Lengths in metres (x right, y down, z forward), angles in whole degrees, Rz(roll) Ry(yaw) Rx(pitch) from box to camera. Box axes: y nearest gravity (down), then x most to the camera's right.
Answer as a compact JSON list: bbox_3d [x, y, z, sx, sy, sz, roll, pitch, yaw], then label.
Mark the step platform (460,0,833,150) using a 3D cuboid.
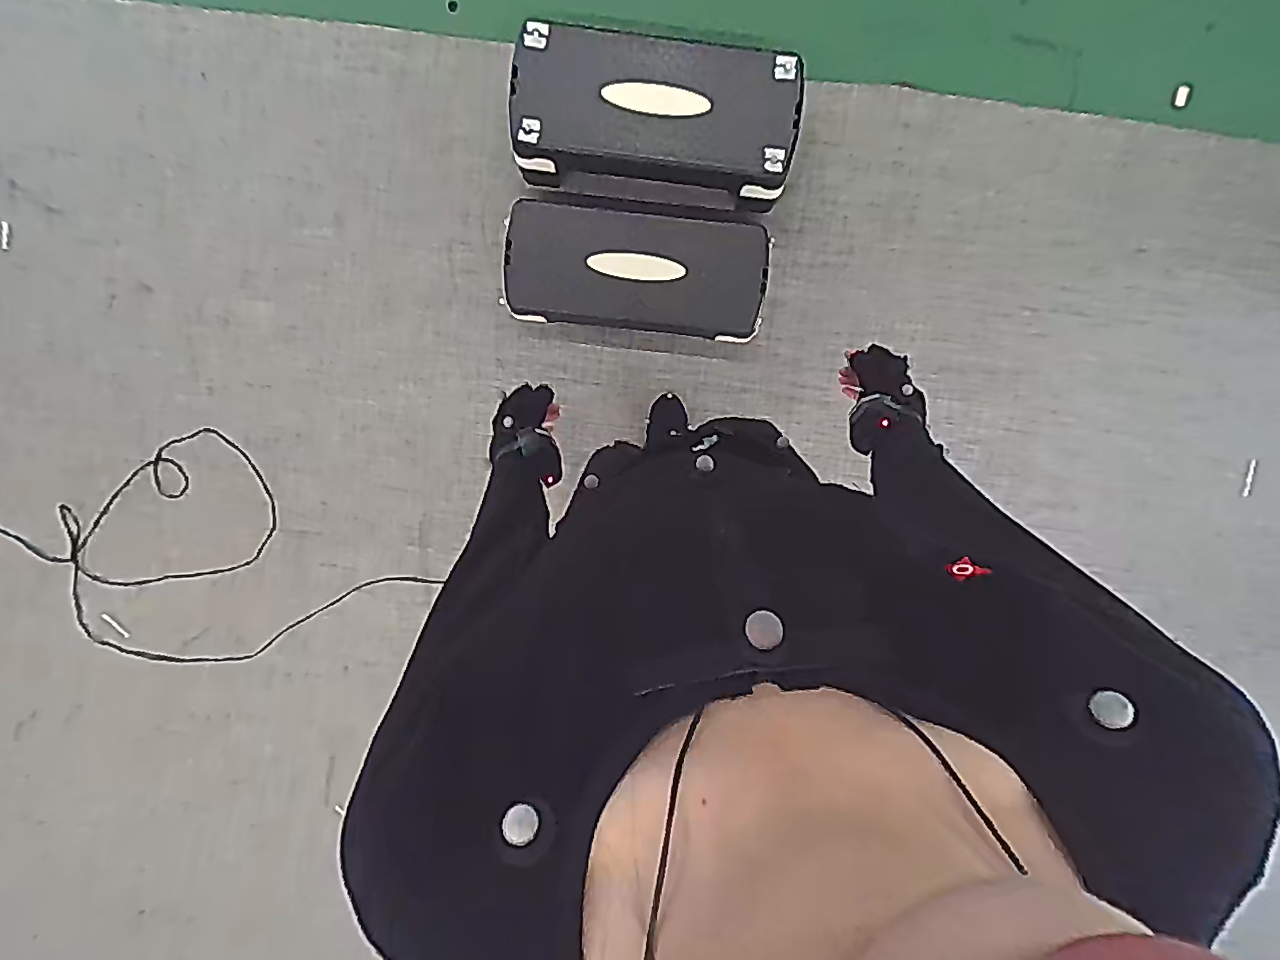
[{"bbox_3d":[0.011,-0.875,1.082,0.684,0.204,0.286,6,97,0],"label":"step platform"}]
